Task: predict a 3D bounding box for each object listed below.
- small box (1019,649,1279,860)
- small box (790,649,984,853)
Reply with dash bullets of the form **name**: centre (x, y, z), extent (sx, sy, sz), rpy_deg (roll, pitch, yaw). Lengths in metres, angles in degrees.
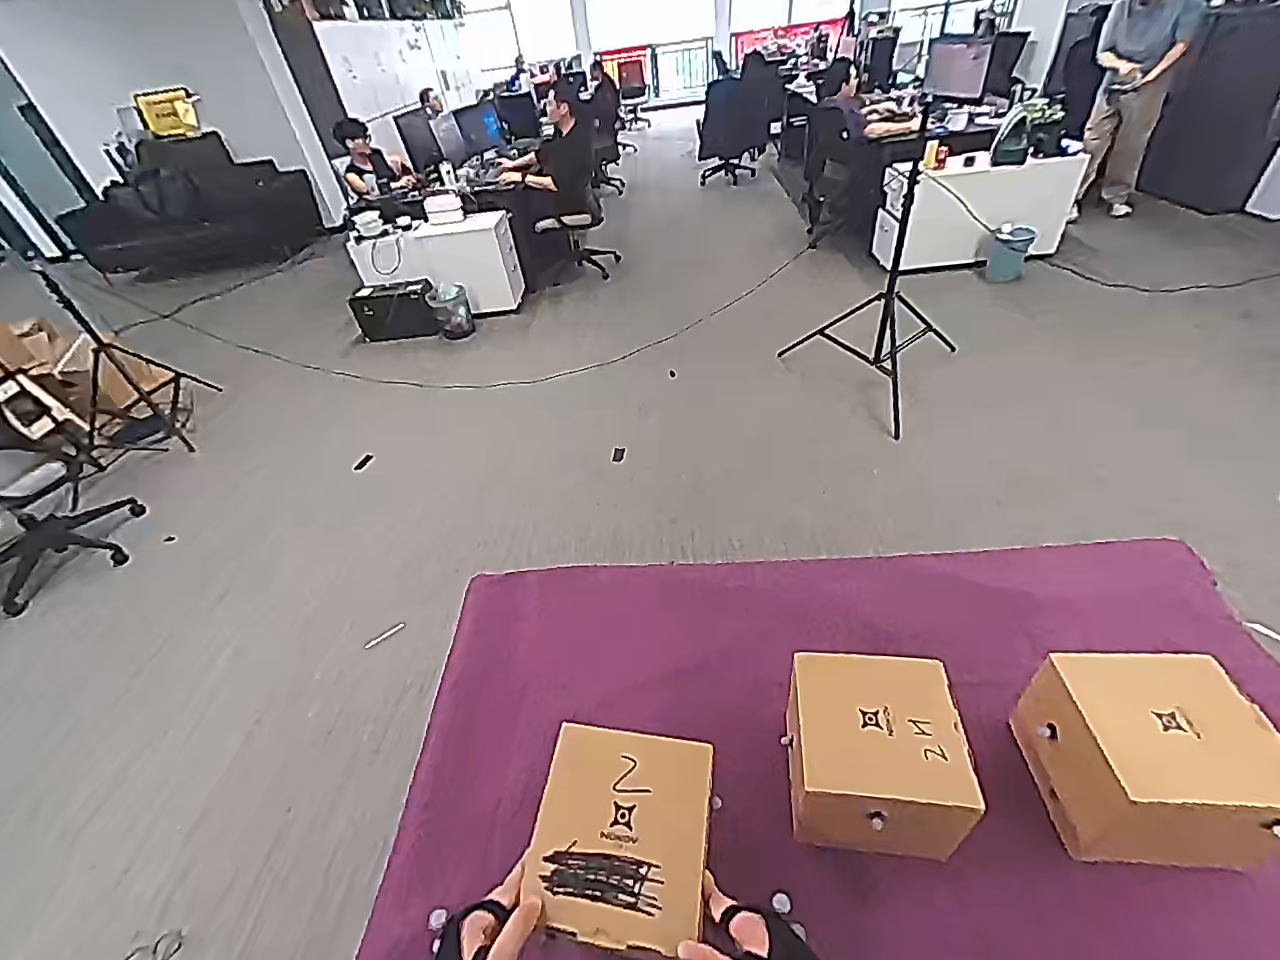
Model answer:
- **small box**: centre (0.575, 0.314, 0.622), extent (0.179, 0.176, 0.168), rpy_deg (-2, 39, 7)
- **small box**: centre (0.278, 0.328, 0.658), extent (0.179, 0.176, 0.168), rpy_deg (1, 41, 11)
